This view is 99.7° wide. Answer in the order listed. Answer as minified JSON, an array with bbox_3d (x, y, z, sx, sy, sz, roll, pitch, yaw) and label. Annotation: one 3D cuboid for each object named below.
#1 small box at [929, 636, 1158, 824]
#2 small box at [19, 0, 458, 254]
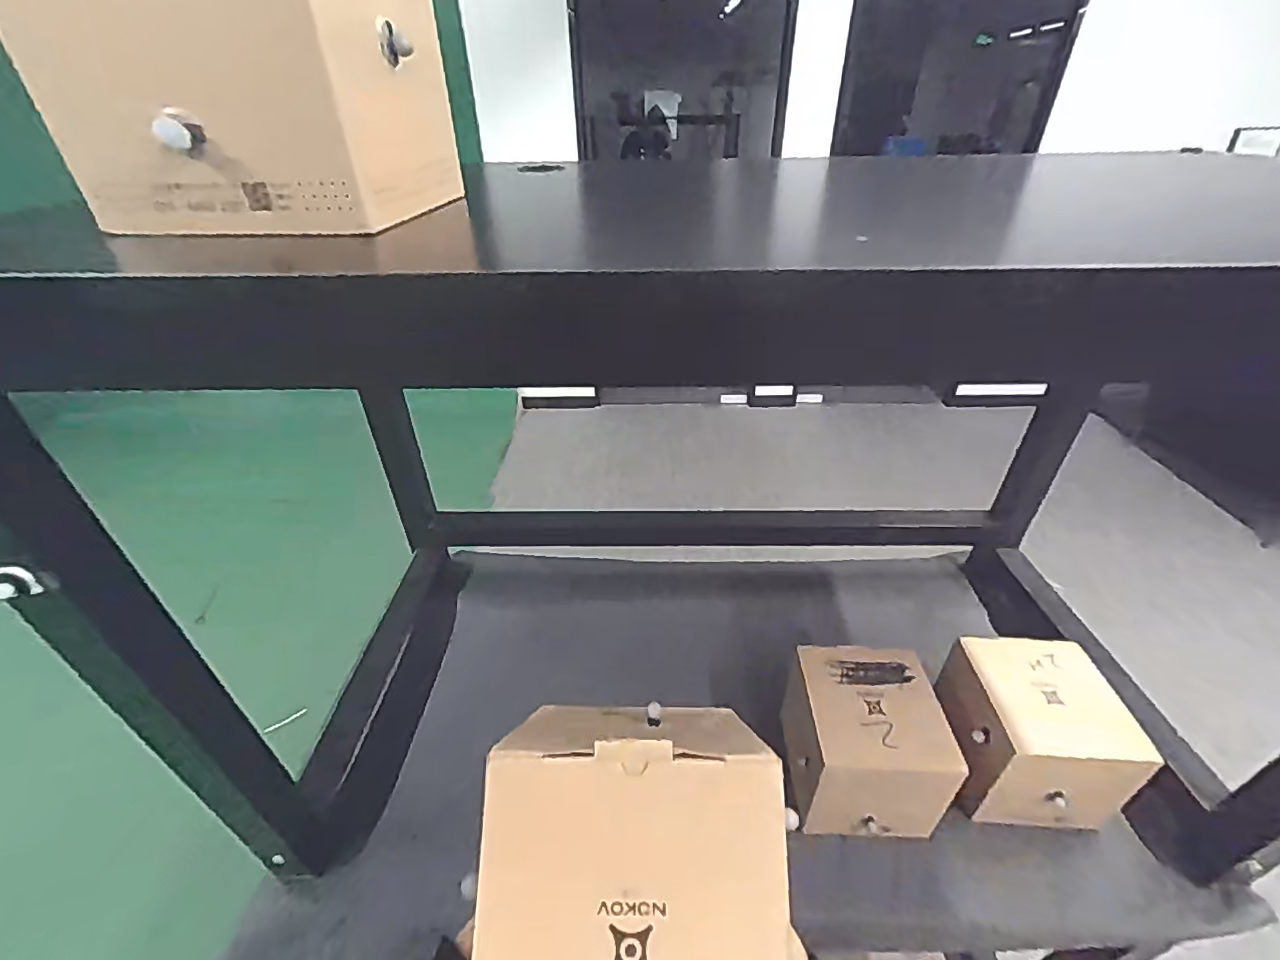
[{"bbox_3d":[0.529,0.341,0.743,0.168,0.176,0.179,2,34,4],"label":"small box"},{"bbox_3d":[-0.231,-0.254,0.347,0.168,0.176,0.179,0,35,2],"label":"small box"}]
